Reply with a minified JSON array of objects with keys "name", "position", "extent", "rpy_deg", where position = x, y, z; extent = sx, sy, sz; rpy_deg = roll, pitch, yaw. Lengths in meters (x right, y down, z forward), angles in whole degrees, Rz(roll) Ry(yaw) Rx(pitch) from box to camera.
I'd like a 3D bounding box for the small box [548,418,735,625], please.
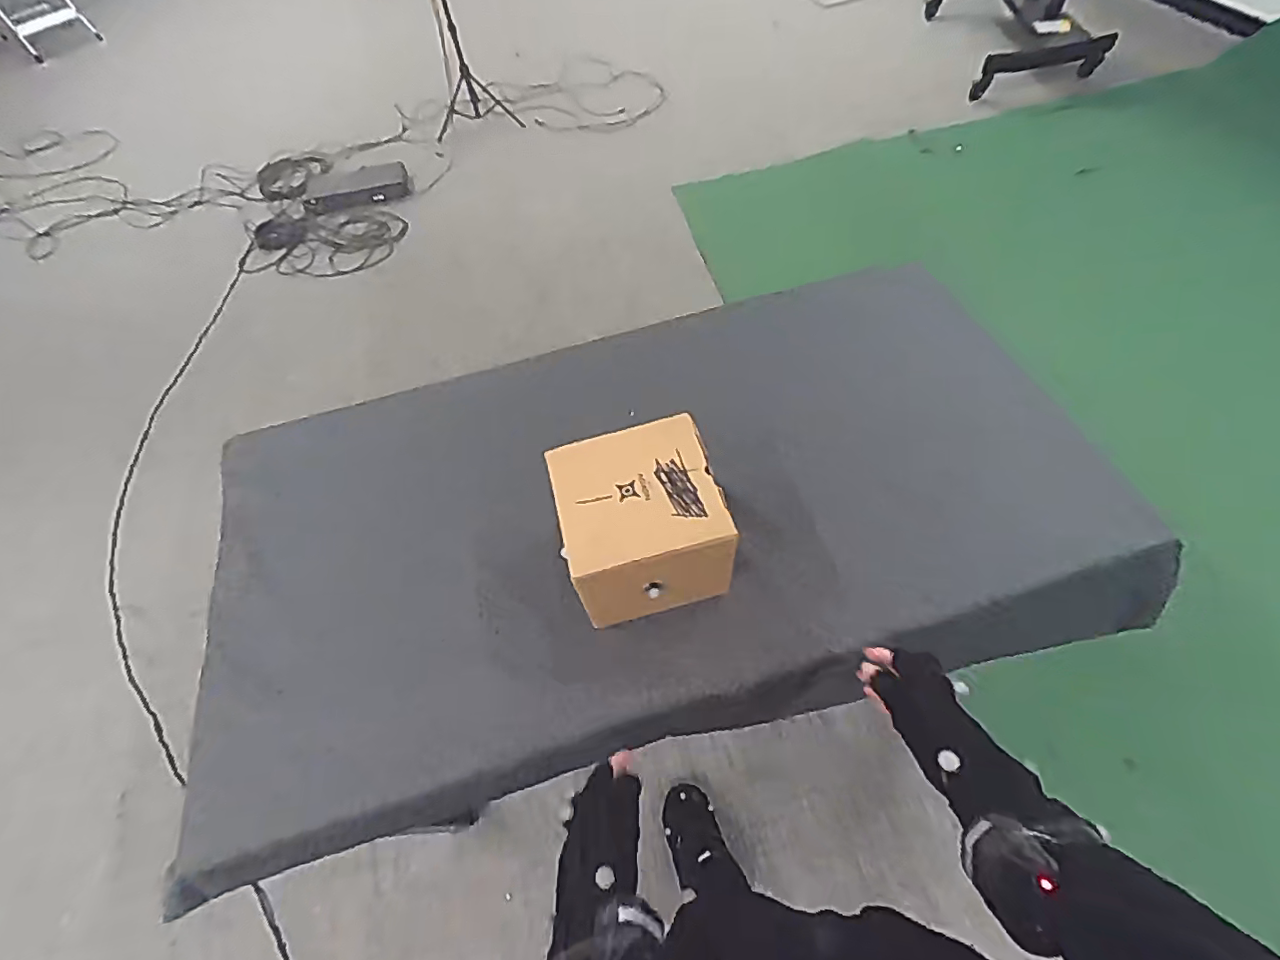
[{"name":"small box","position":[0.001,0.056,0.651],"extent":[0.179,0.176,0.168],"rpy_deg":[-15,58,-3]}]
